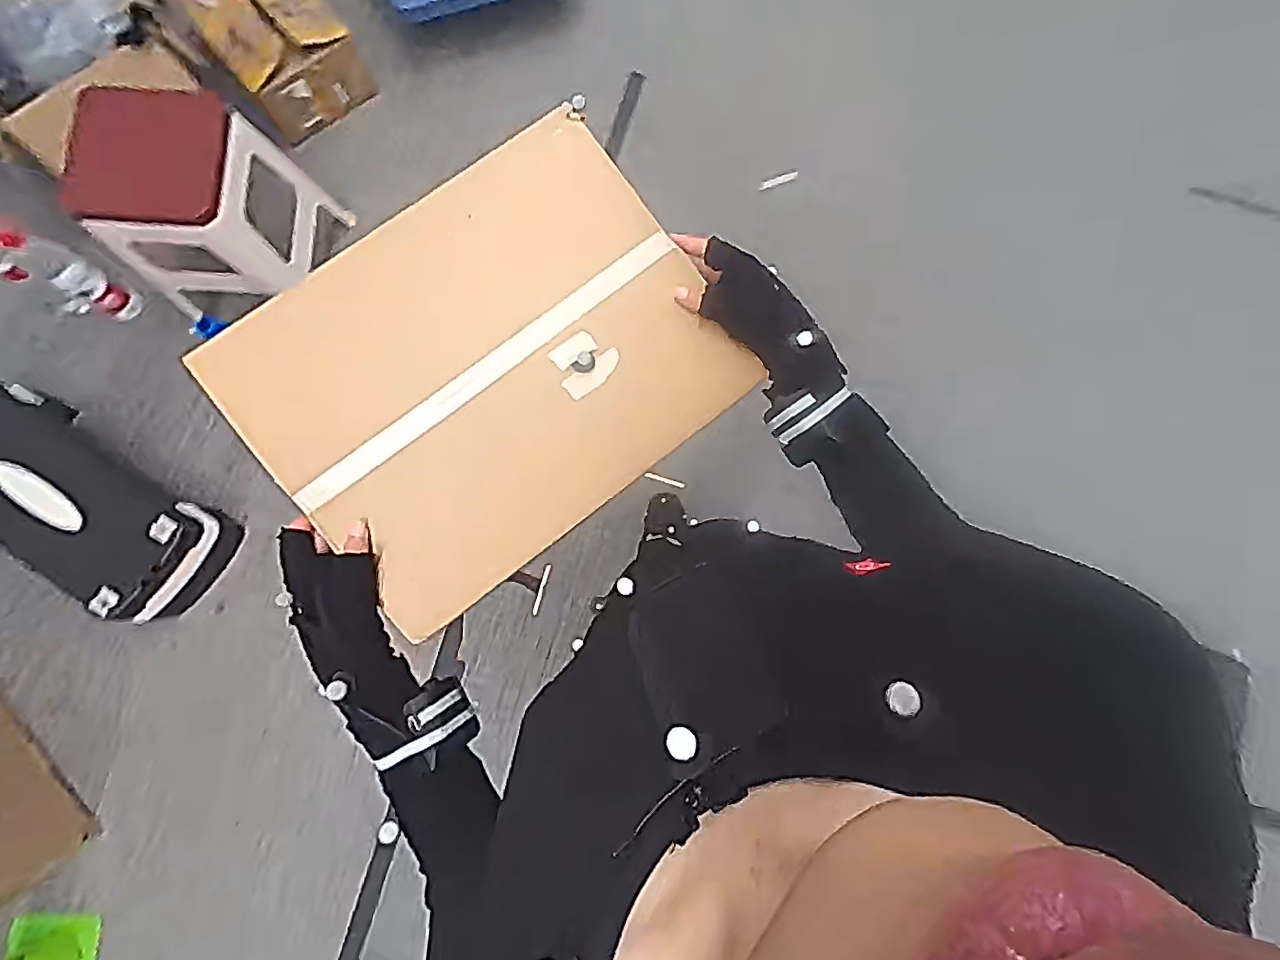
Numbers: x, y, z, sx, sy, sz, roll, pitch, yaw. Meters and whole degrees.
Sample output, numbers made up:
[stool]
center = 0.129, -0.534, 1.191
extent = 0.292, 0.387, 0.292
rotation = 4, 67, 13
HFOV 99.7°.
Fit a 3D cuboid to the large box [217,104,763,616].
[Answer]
[large box]
center = -0.141, -0.109, 0.640
extent = 0.408, 0.320, 0.320
rotation = -37, 93, -6
